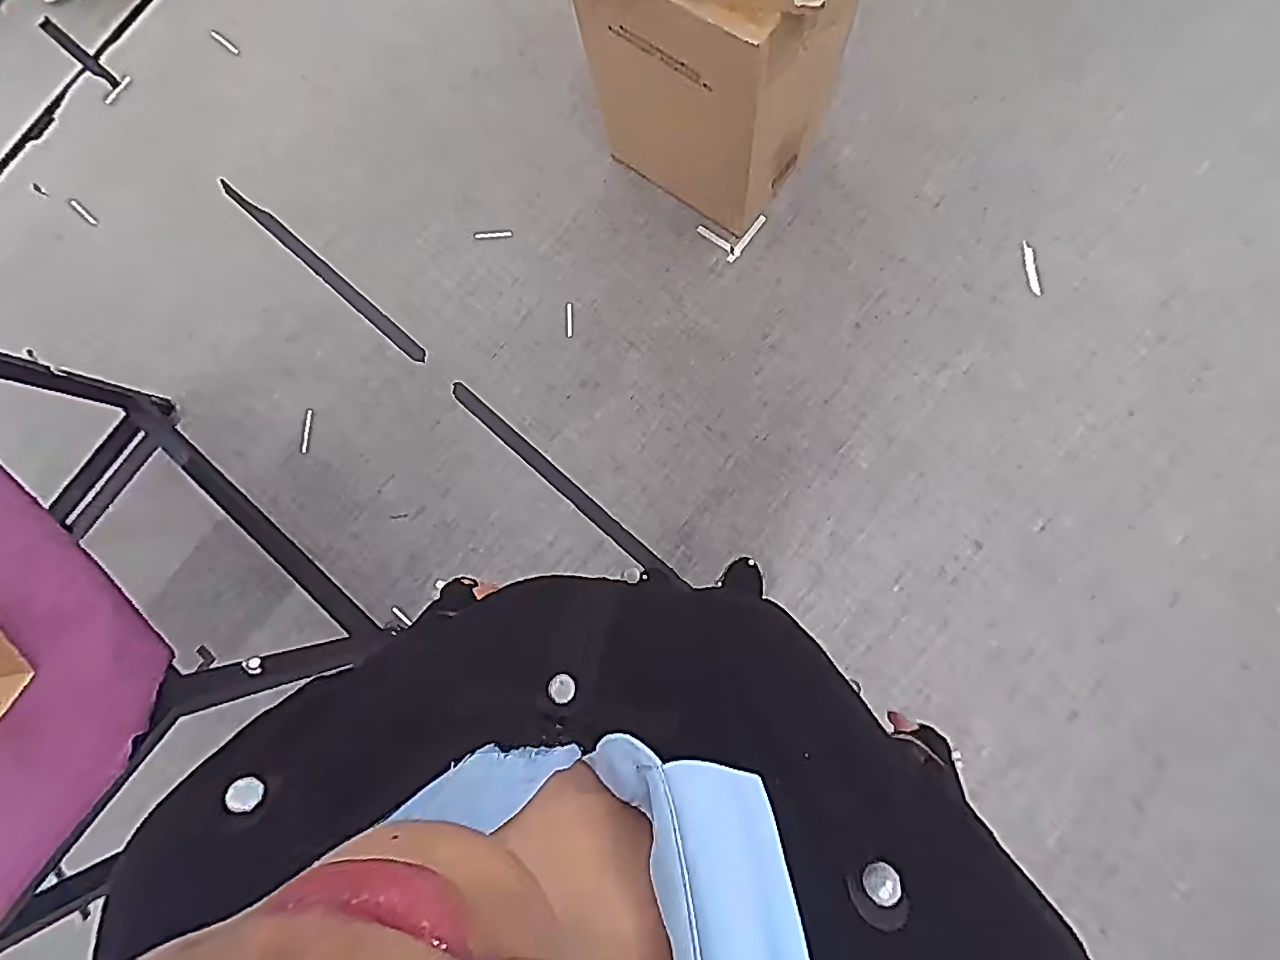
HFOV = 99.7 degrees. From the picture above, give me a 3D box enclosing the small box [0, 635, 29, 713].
[{"bbox_3d":[-1.115,0.322,0.821,0.179,0.176,0.168,36,87,11],"label":"small box"}]
